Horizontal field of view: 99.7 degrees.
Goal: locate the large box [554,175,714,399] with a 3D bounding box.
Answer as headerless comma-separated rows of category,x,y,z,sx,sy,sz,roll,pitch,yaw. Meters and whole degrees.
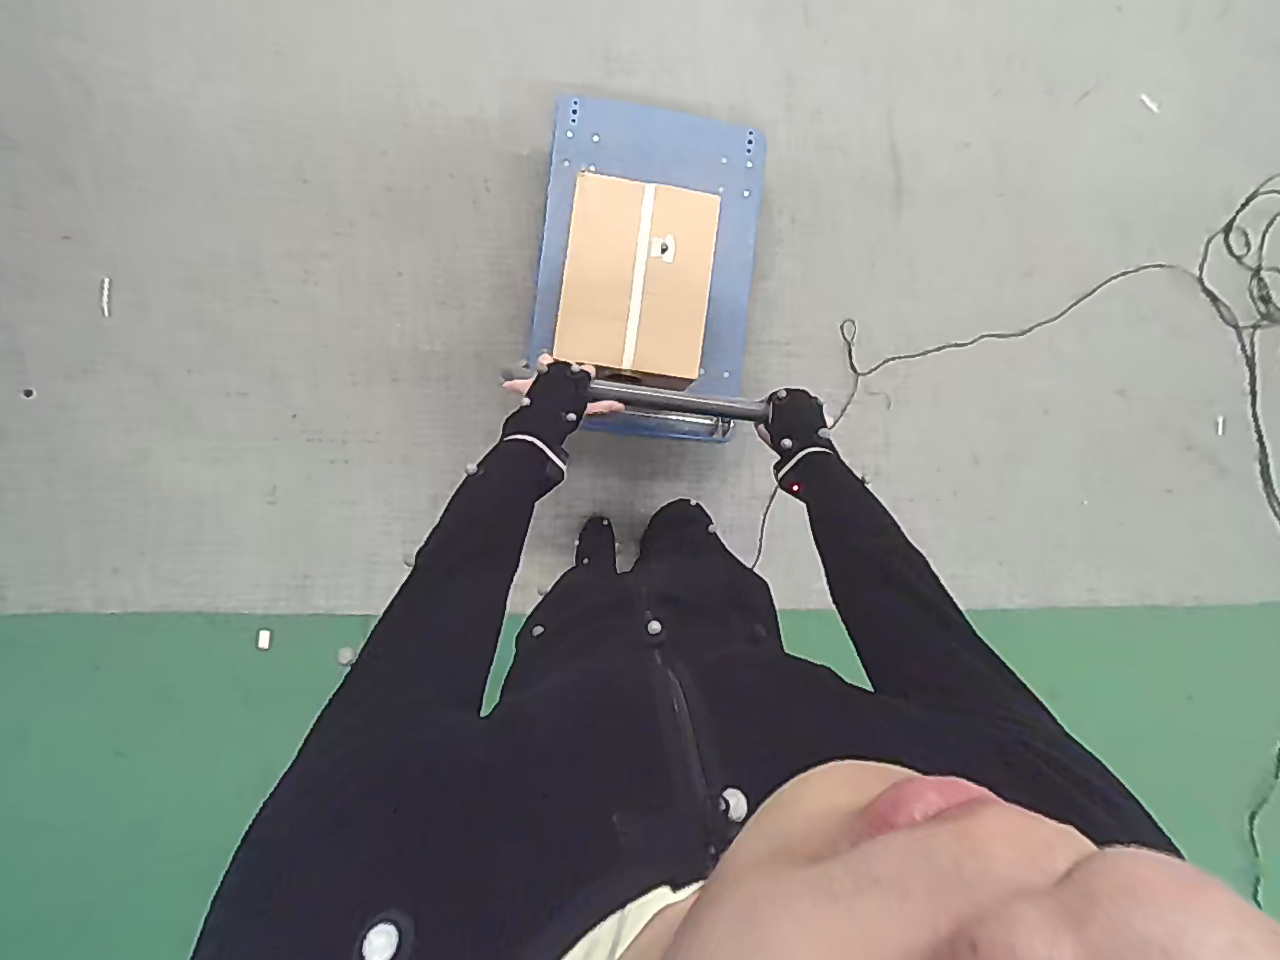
large box,-0.022,-0.429,1.297,0.320,0.320,0.408,7,88,-6
